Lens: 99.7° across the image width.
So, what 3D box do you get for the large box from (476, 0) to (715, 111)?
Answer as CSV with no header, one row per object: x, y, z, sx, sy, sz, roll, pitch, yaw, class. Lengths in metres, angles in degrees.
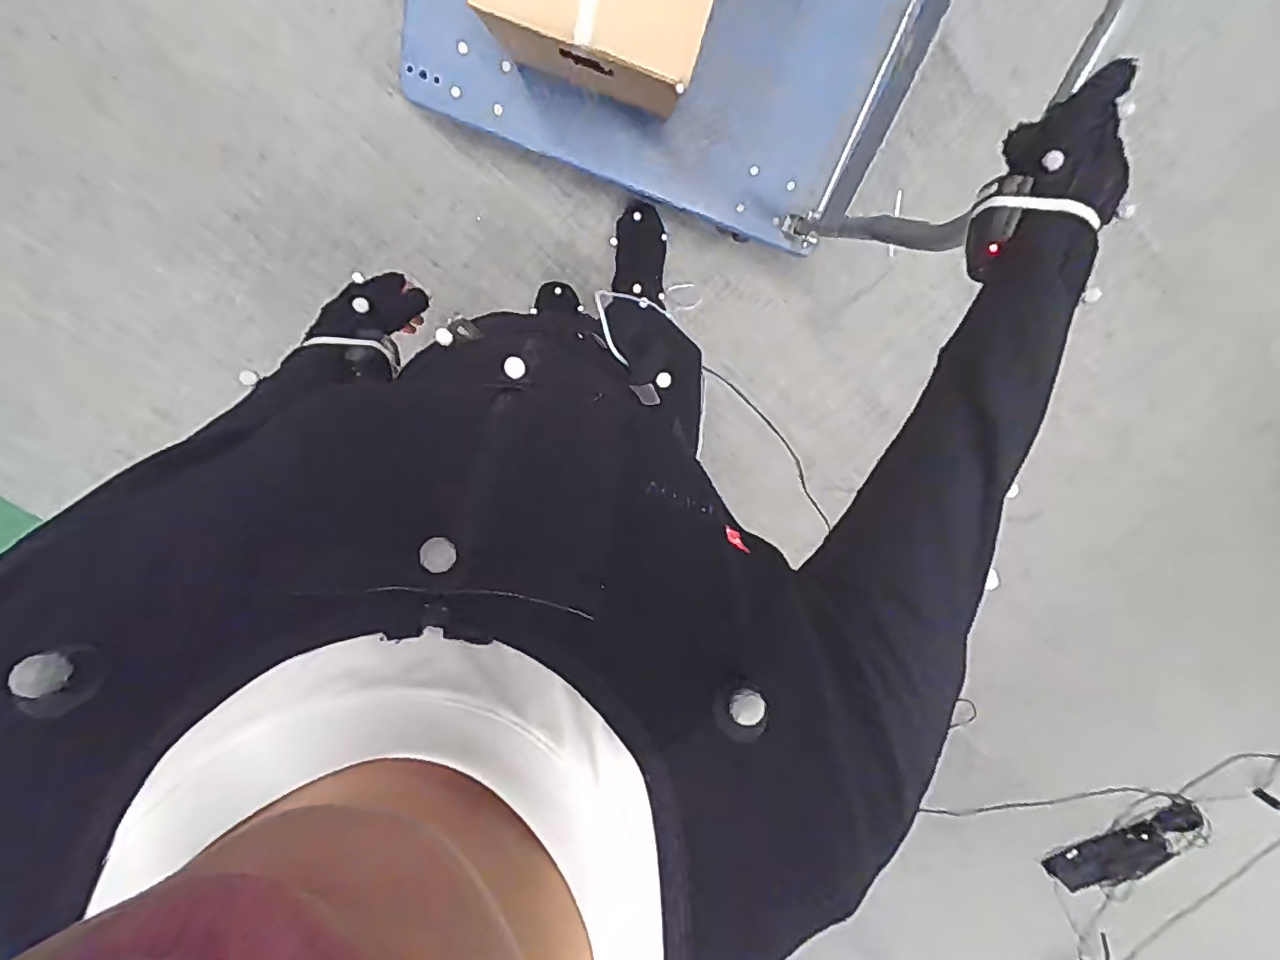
-0.022,-0.833,0.784,0.320,0.320,0.408,15,117,-8,large box
